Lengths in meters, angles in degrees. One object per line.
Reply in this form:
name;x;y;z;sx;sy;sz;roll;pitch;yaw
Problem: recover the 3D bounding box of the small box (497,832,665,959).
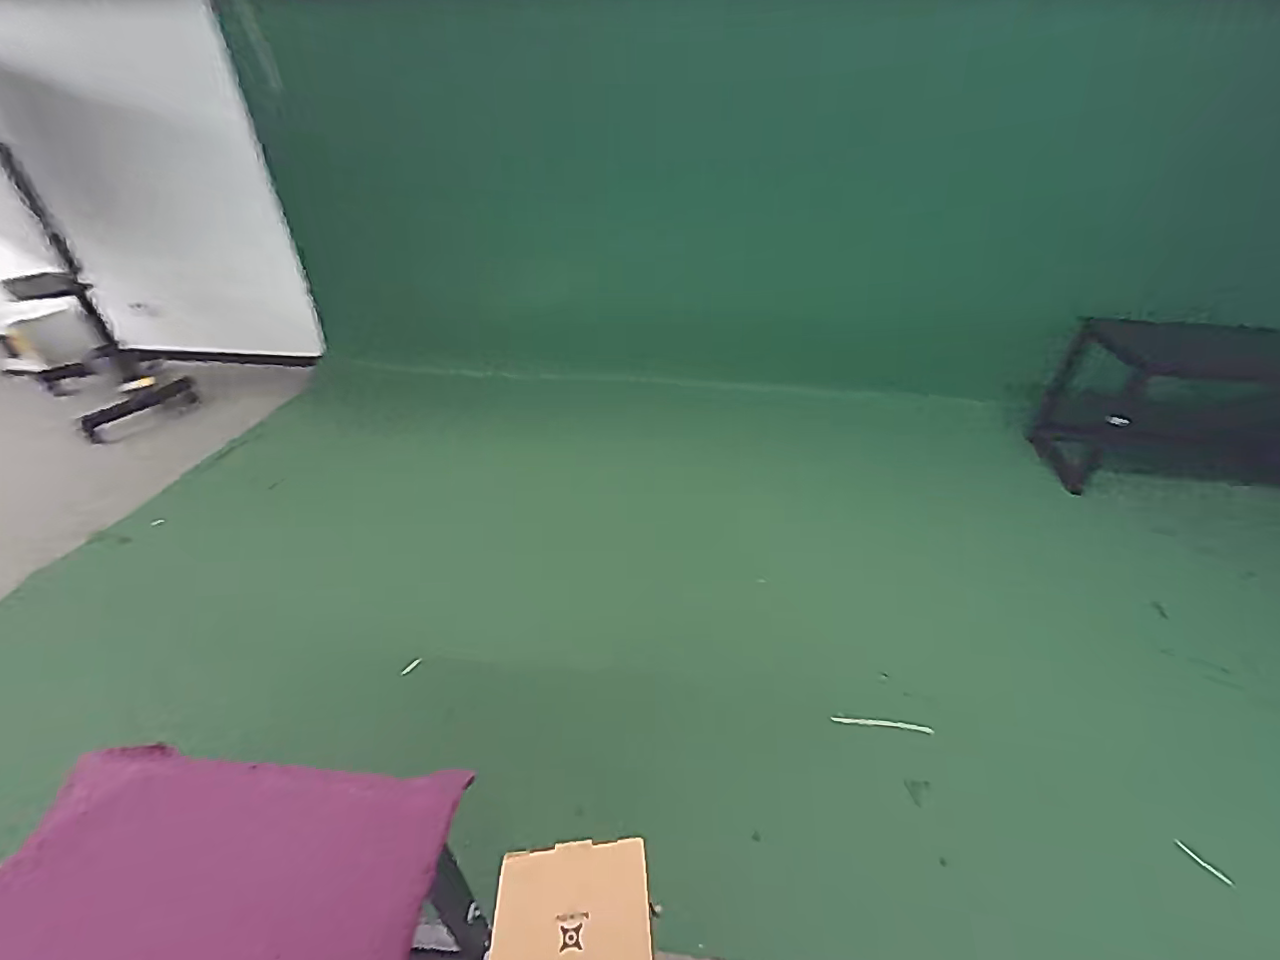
small box;-0.057;0.525;0.588;0.168;0.176;0.179;-4;28;-1
